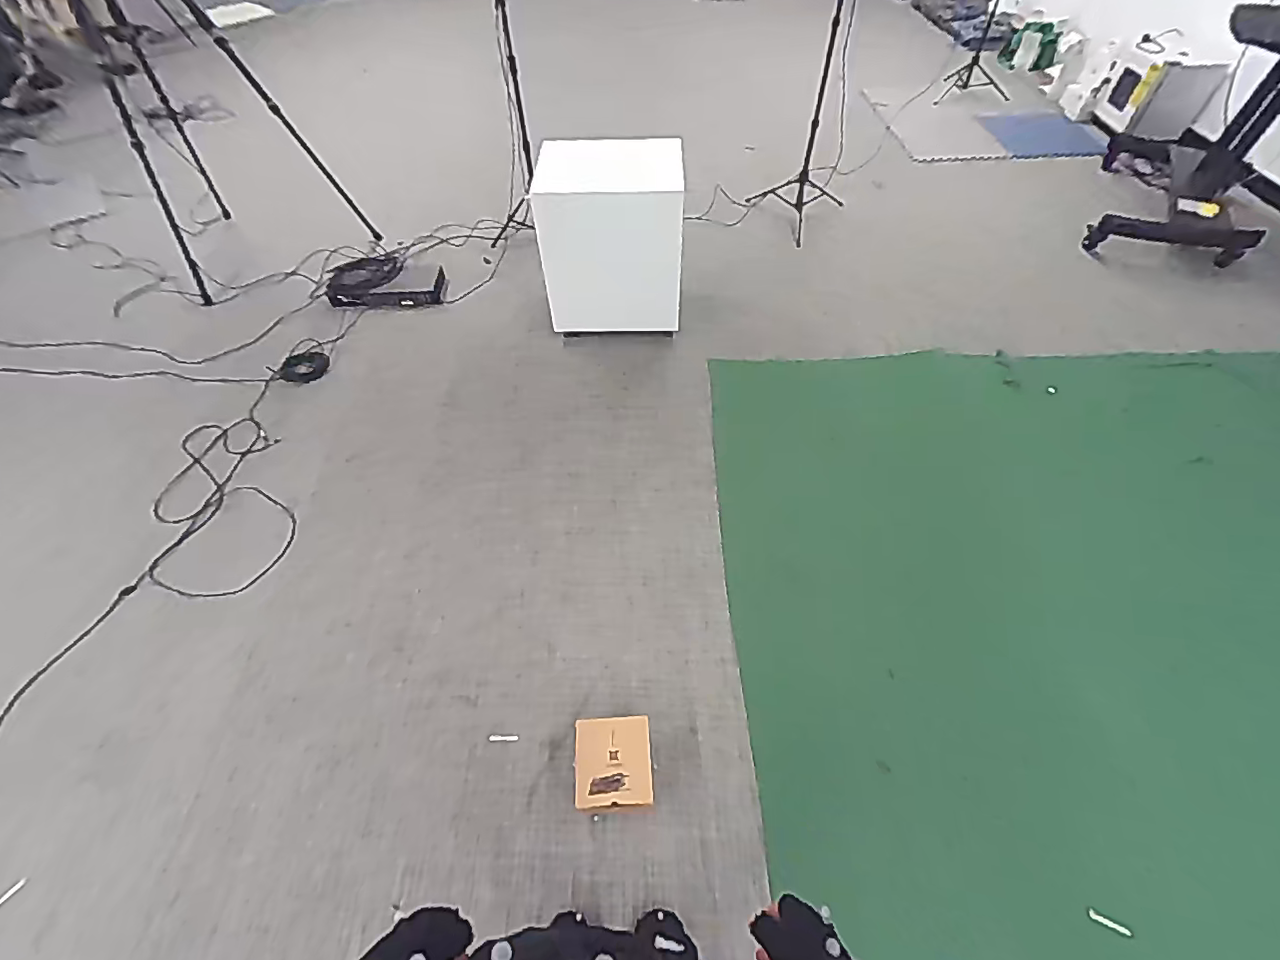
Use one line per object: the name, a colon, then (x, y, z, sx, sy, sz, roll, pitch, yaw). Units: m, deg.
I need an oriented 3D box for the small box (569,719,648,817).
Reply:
small box: (-0.067, 0.660, 1.232, 0.168, 0.176, 0.179, -3, 53, -1)
